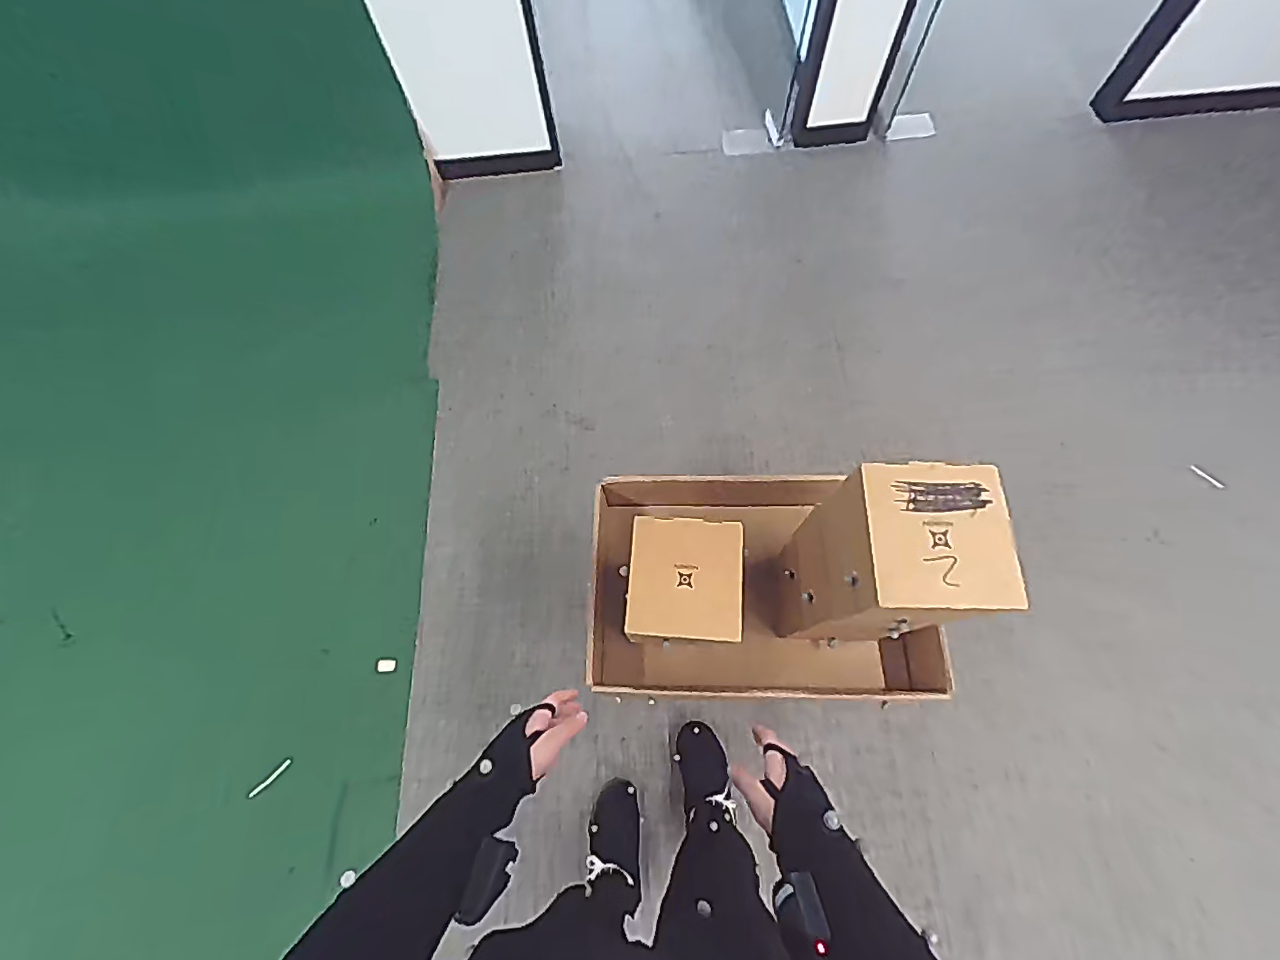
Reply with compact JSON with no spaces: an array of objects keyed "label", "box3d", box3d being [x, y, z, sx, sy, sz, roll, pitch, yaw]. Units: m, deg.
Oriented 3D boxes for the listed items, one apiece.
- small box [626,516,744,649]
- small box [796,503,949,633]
[{"label":"small box","box3d":[0.073,0.169,0.857,0.168,0.176,0.179,3,68,4]},{"label":"small box","box3d":[0.351,0.145,0.851,0.168,0.176,0.179,1,69,2]}]
